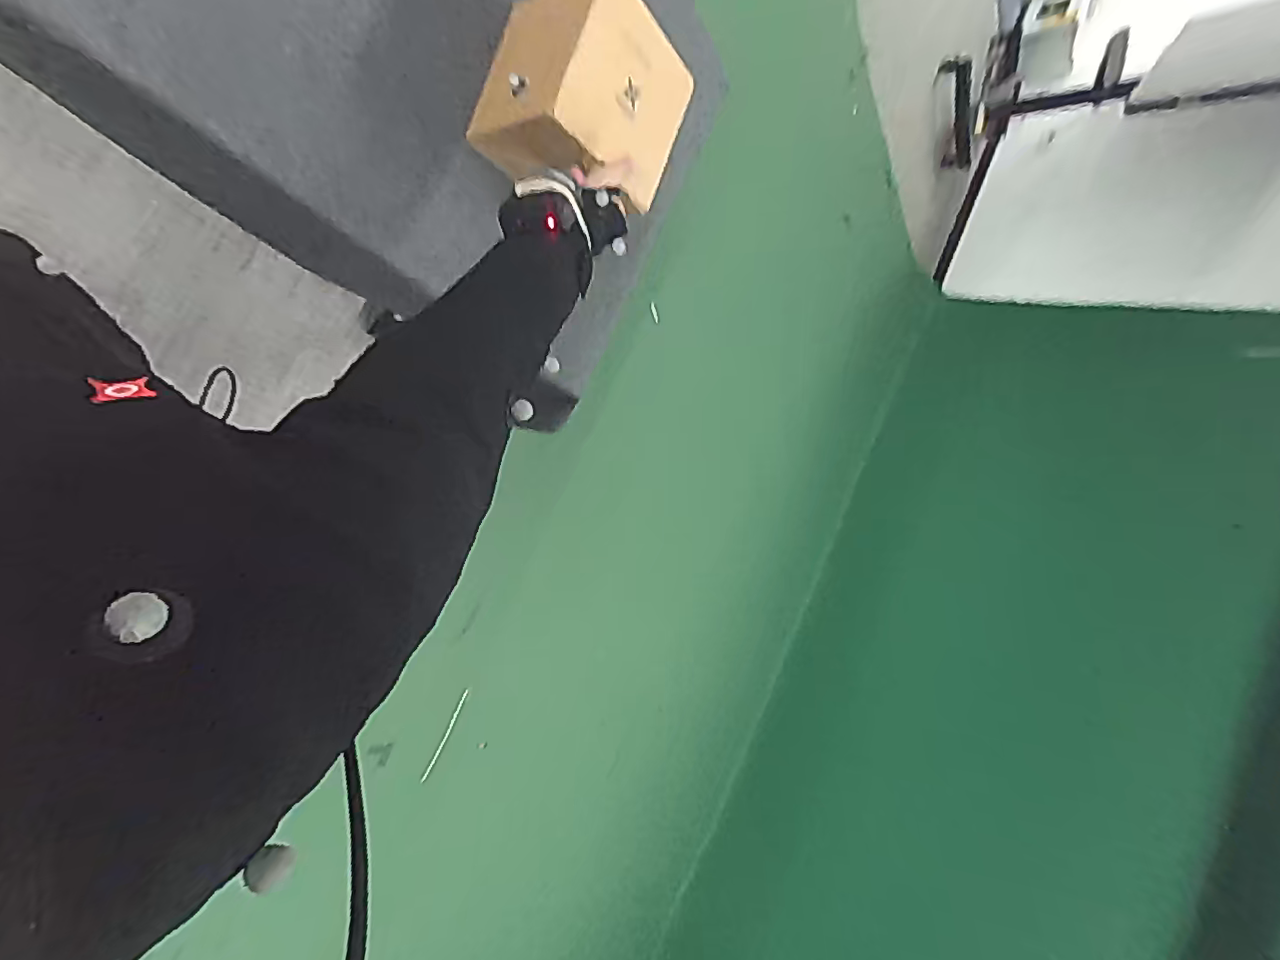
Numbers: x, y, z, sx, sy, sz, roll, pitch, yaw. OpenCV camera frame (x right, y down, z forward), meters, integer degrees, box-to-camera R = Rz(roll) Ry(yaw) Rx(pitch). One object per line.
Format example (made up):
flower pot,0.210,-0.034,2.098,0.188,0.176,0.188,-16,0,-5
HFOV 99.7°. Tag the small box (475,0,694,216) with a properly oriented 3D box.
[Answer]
small box,-0.069,-0.441,0.646,0.168,0.176,0.179,21,87,-52
